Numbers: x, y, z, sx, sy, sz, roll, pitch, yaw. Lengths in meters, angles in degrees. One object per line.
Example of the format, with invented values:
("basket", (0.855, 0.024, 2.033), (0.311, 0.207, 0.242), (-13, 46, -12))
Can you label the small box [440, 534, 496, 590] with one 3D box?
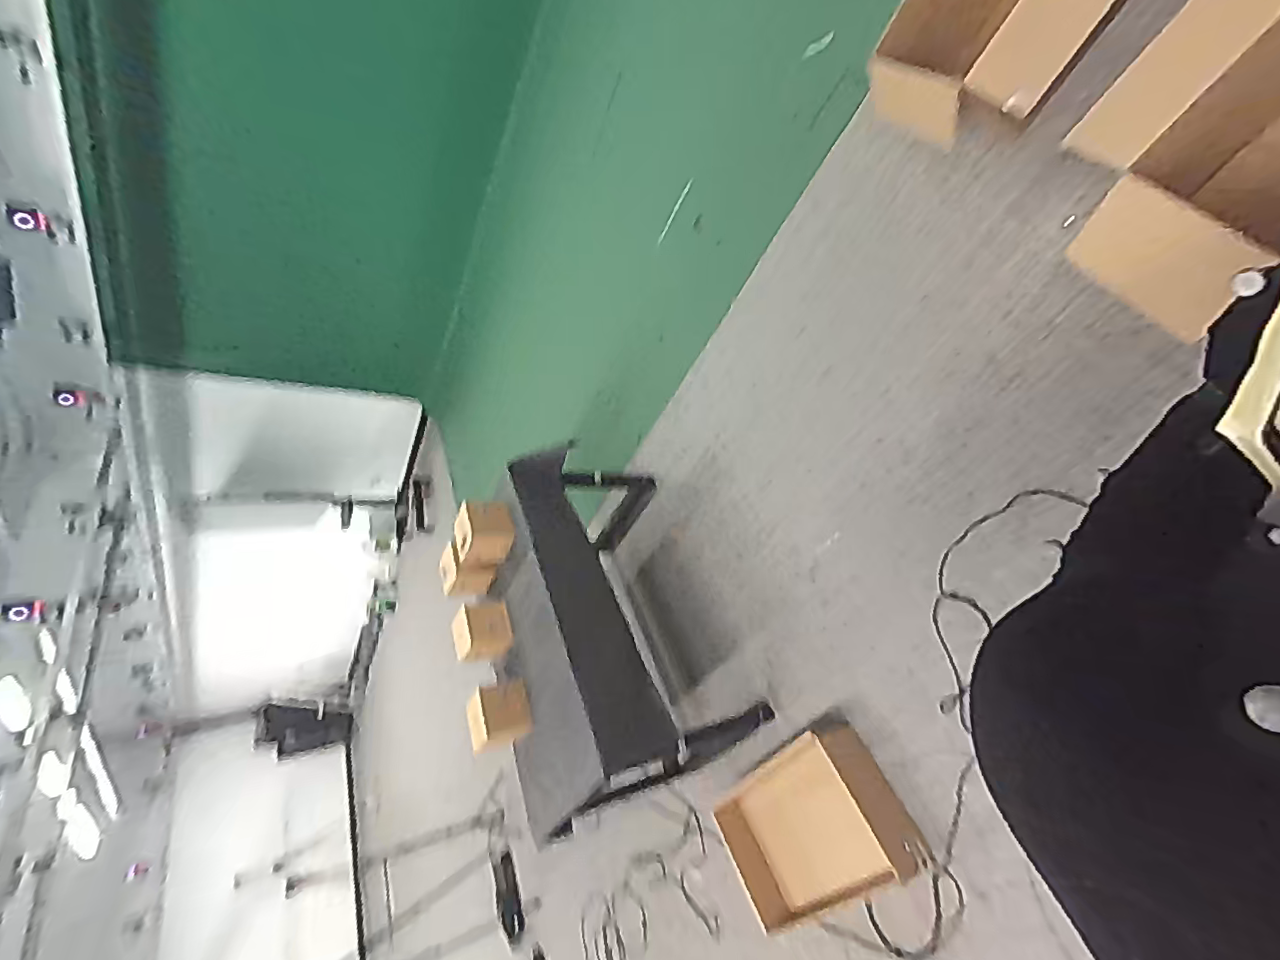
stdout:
("small box", (-0.711, 0.336, 2.233), (0.179, 0.176, 0.168), (-52, 49, 38))

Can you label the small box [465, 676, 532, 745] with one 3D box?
("small box", (-0.502, 0.810, 1.917), (0.168, 0.176, 0.179), (-53, 47, 38))

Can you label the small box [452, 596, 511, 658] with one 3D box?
("small box", (-0.607, 0.560, 2.081), (0.179, 0.176, 0.168), (-53, 49, 39))
